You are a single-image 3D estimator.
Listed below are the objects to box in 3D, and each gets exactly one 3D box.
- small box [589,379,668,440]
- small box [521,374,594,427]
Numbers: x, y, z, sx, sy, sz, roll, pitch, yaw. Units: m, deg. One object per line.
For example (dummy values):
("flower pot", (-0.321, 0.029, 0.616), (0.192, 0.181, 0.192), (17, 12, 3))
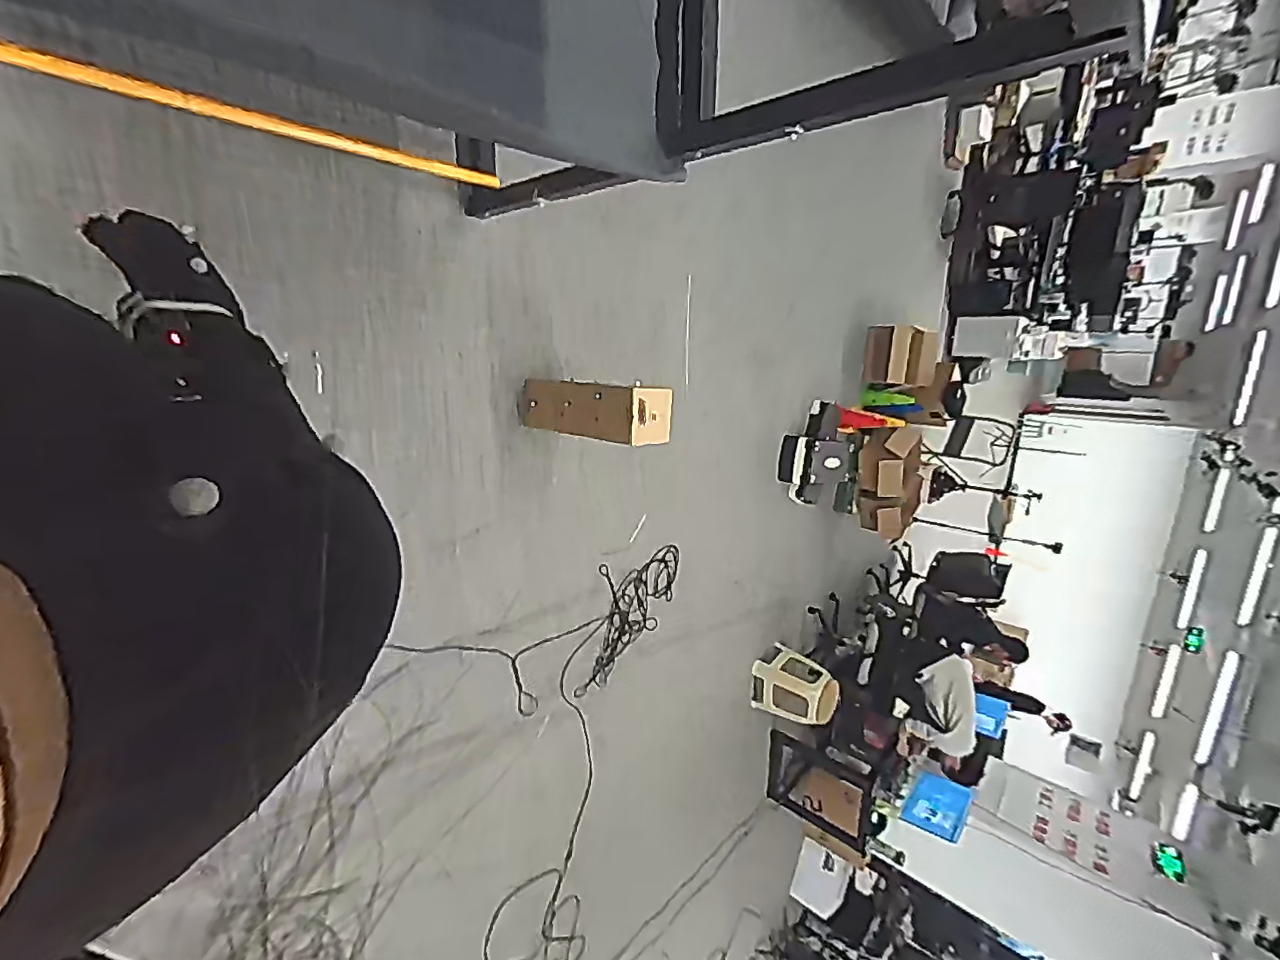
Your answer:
("small box", (-0.037, -0.214, 1.633), (0.179, 0.176, 0.168), (-9, 108, -48))
("small box", (-0.281, -0.272, 1.842), (0.179, 0.176, 0.168), (-6, 104, -48))
